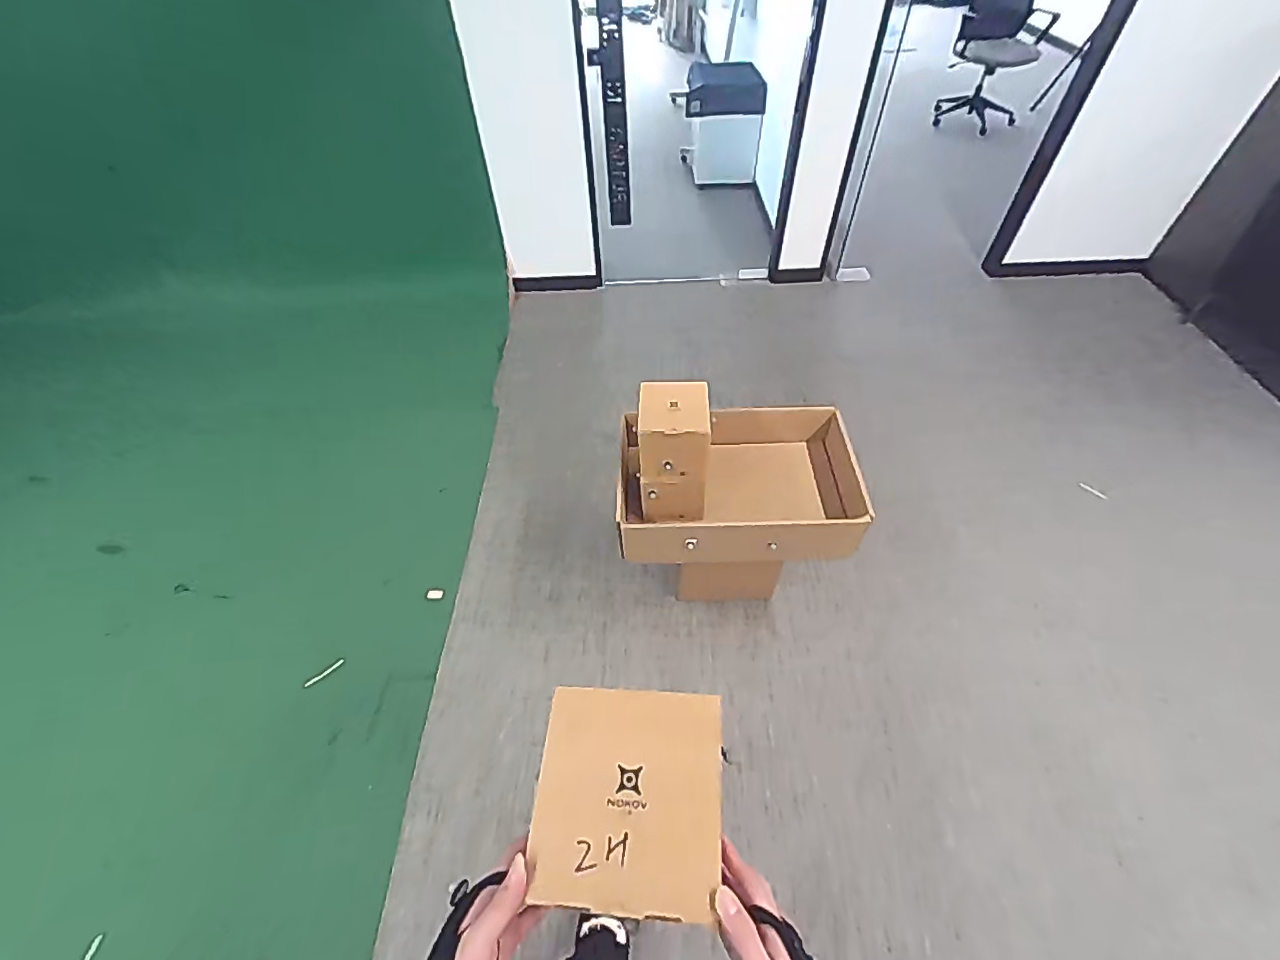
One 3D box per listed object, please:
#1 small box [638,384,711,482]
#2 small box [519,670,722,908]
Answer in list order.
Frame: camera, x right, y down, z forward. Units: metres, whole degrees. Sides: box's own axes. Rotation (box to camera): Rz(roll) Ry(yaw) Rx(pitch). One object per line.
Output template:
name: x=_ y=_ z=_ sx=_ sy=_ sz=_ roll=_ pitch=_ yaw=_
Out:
small box: x=0.082 y=-0.115 z=1.325 sx=0.168 sy=0.176 sz=0.179 roll=0 pitch=49 yaw=3
small box: x=-0.003 y=0.312 z=0.547 sx=0.168 sy=0.176 sz=0.179 roll=1 pitch=53 yaw=9
